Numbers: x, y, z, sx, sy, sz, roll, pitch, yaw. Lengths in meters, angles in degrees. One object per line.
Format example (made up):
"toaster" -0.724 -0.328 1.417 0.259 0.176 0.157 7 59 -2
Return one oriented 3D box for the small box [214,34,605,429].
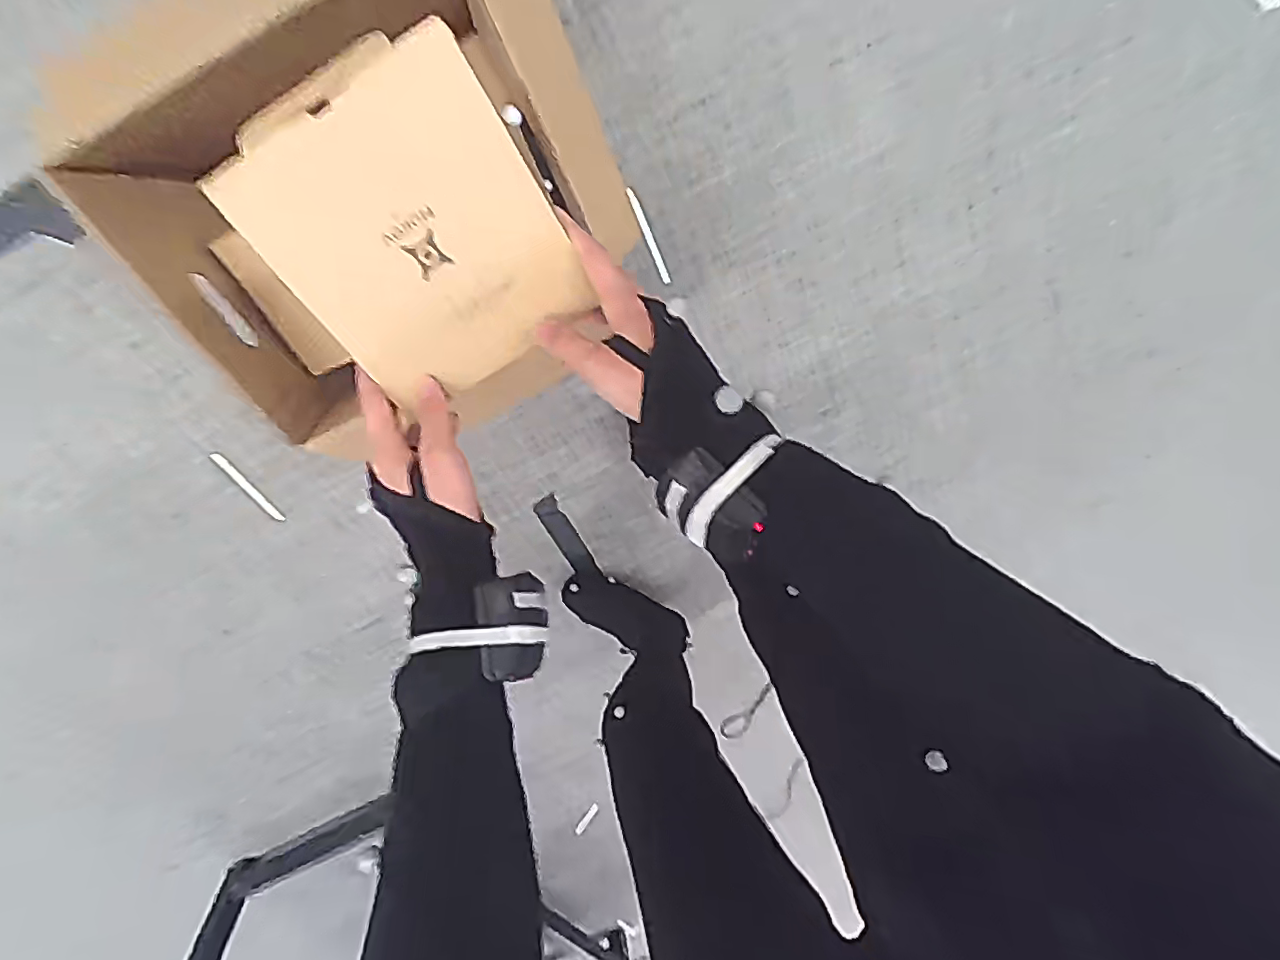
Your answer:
"small box" -0.147 -0.172 0.409 0.168 0.176 0.179 -31 116 5
